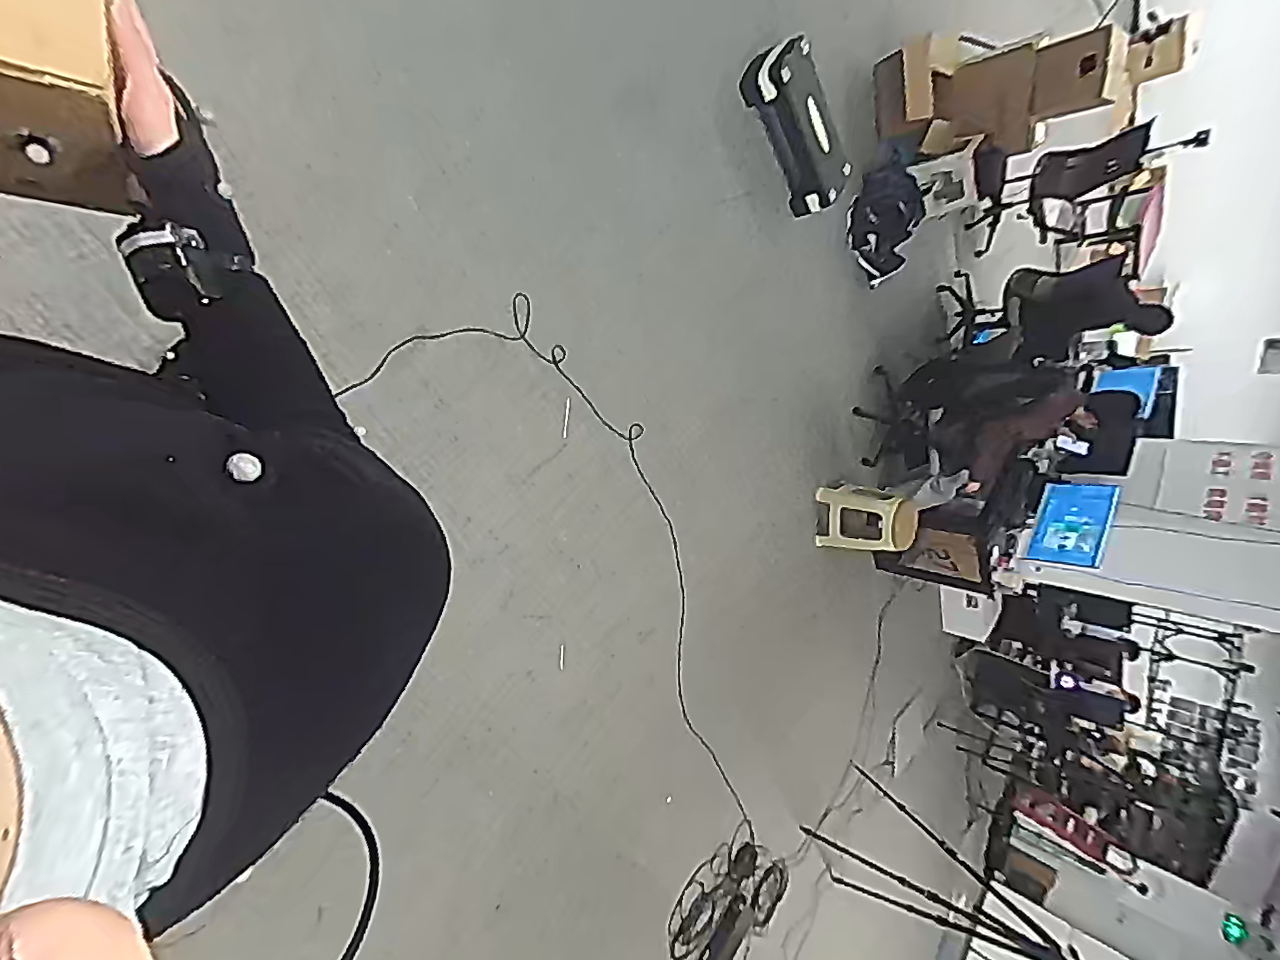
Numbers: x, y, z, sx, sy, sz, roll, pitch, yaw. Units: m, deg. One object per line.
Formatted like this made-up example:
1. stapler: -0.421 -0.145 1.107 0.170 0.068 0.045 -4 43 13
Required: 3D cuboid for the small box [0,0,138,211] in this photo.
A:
1. small box: -0.465 -0.321 0.370 0.168 0.176 0.179 -4 84 -41
